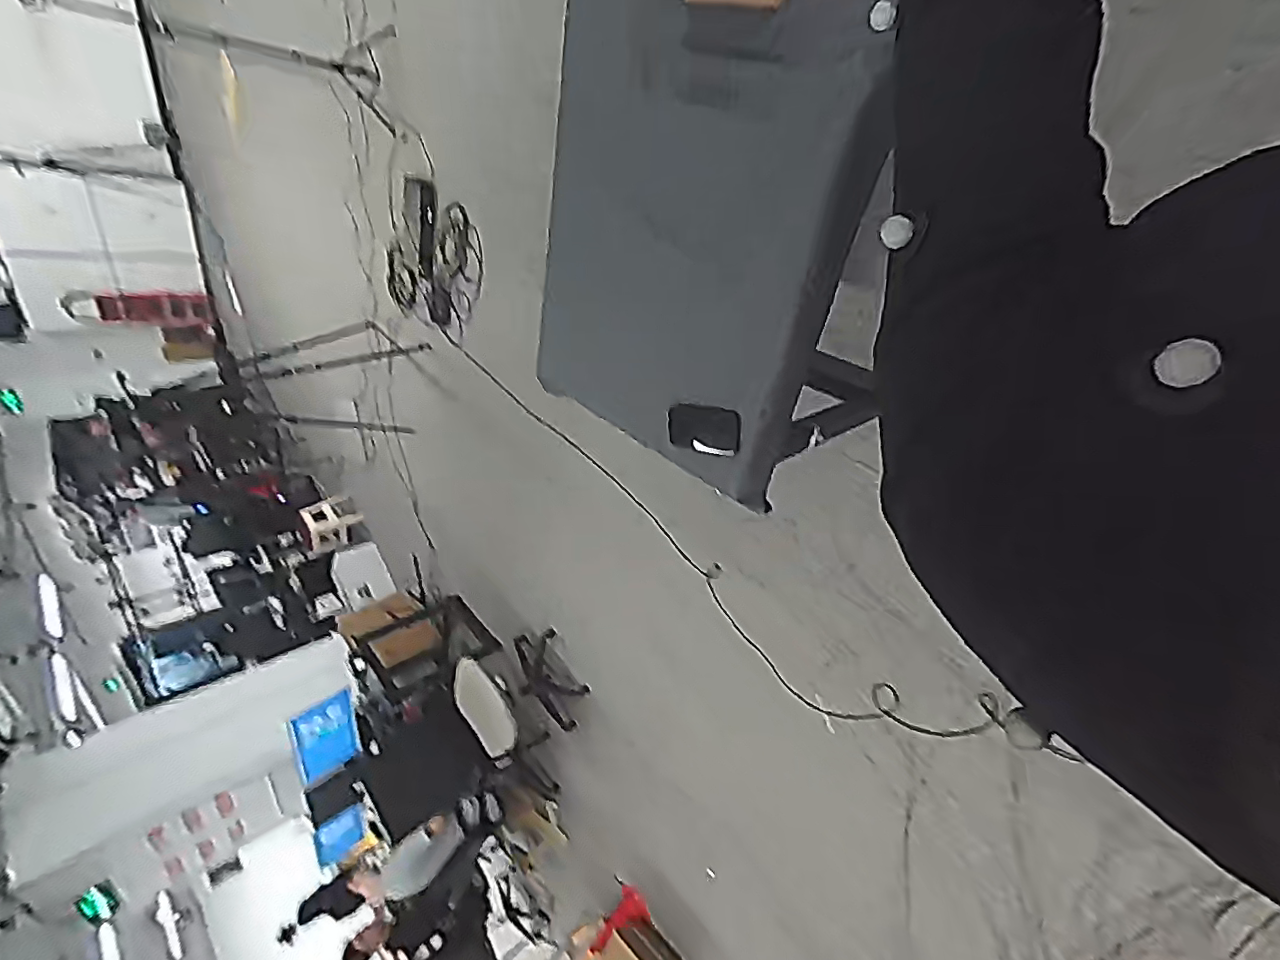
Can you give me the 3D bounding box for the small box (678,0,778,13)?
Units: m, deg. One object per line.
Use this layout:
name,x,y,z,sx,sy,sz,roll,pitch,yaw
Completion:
small box,0.094,-0.700,0.656,0.179,0.176,0.168,37,128,33
